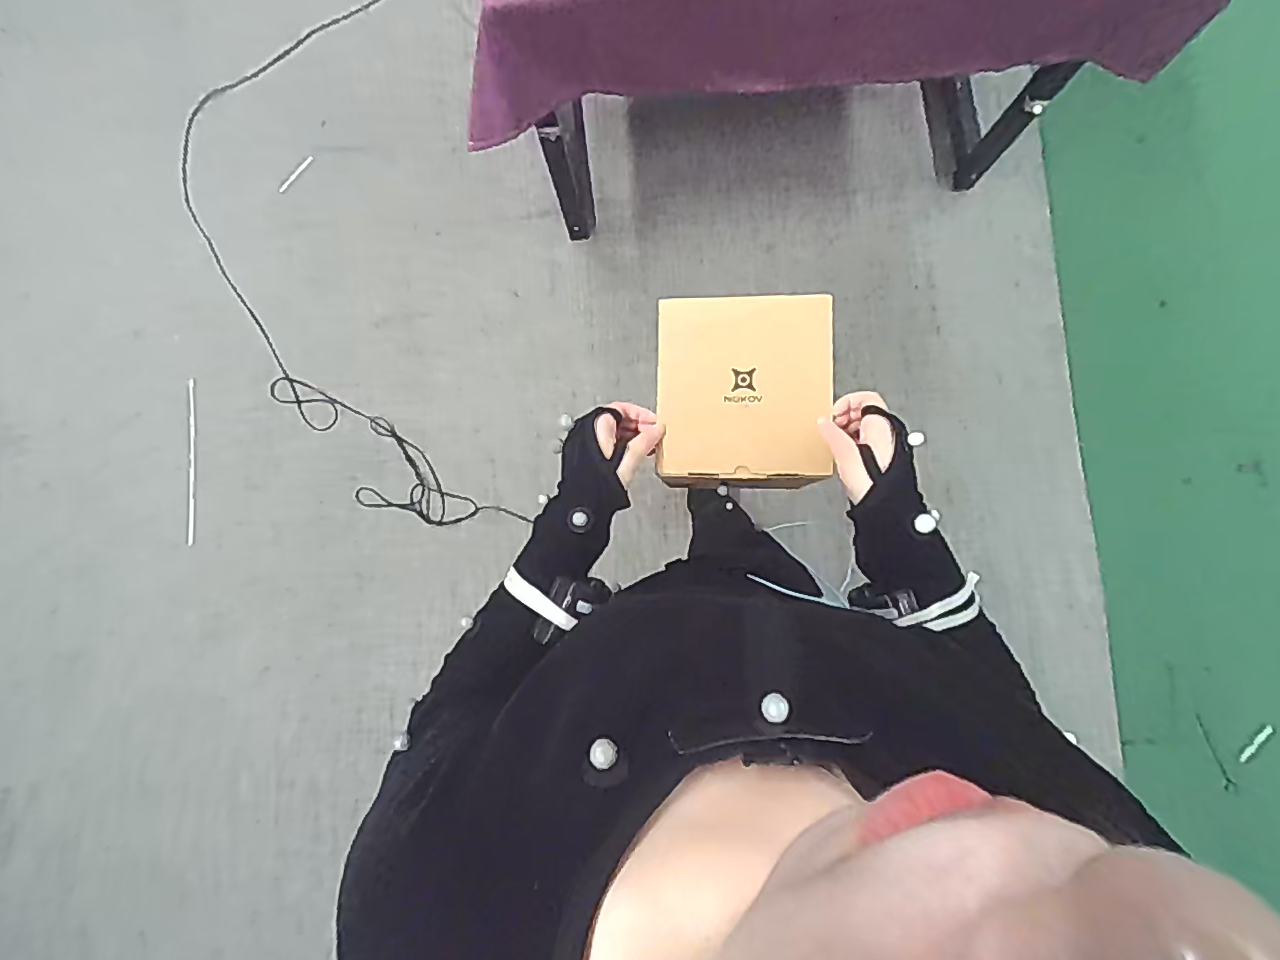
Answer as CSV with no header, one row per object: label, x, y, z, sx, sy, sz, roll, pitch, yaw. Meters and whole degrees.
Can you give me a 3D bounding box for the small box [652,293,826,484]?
small box,0.101,-0.087,0.594,0.168,0.176,0.179,0,88,7
